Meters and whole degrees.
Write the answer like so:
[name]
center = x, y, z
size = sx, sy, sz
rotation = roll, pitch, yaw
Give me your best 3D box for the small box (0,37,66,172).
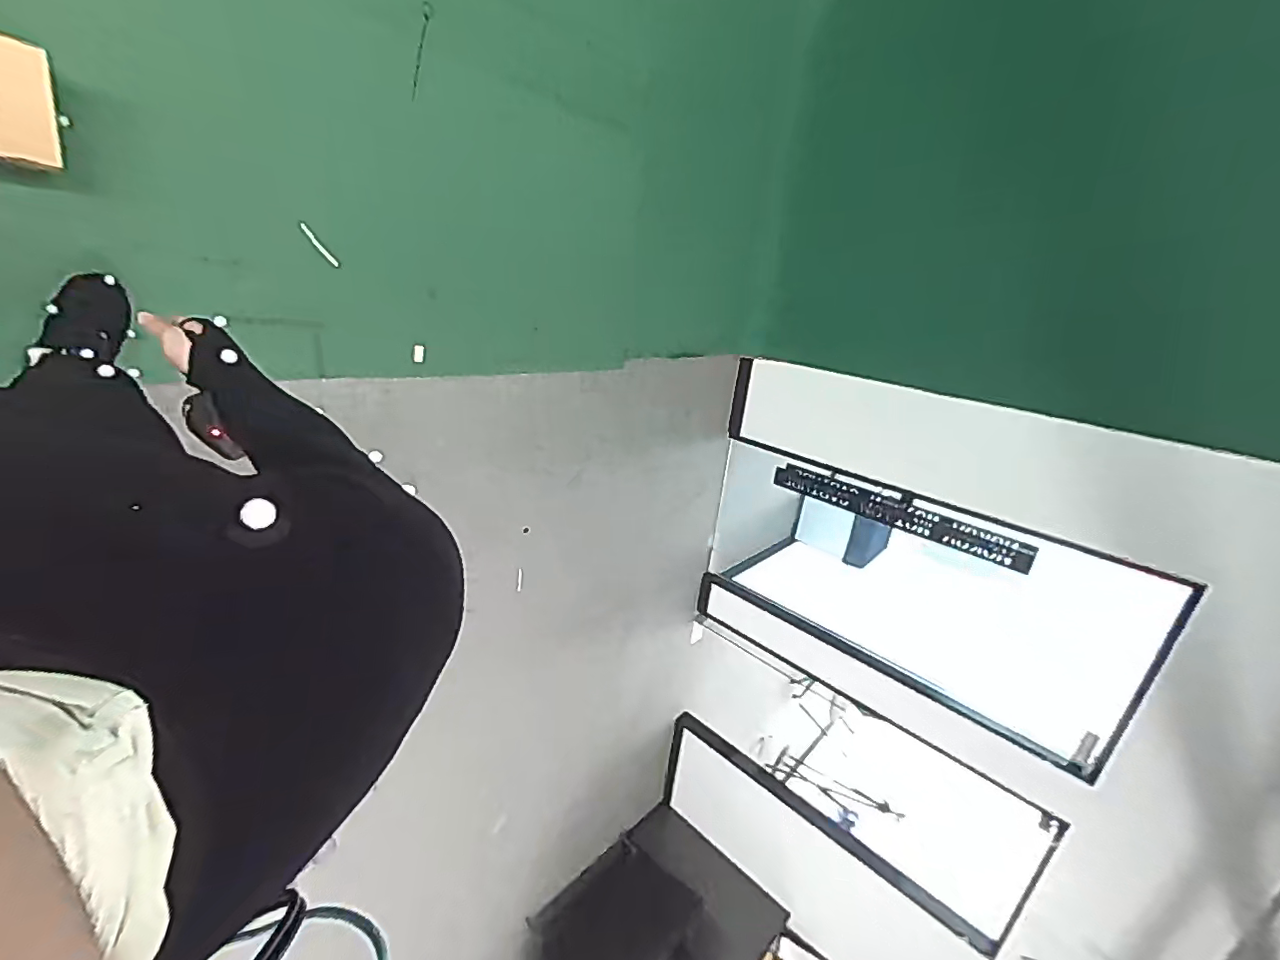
[small box]
center = -1.088, -0.629, 0.894
size = 0.168, 0.176, 0.179
rotation = -11, 118, -47
